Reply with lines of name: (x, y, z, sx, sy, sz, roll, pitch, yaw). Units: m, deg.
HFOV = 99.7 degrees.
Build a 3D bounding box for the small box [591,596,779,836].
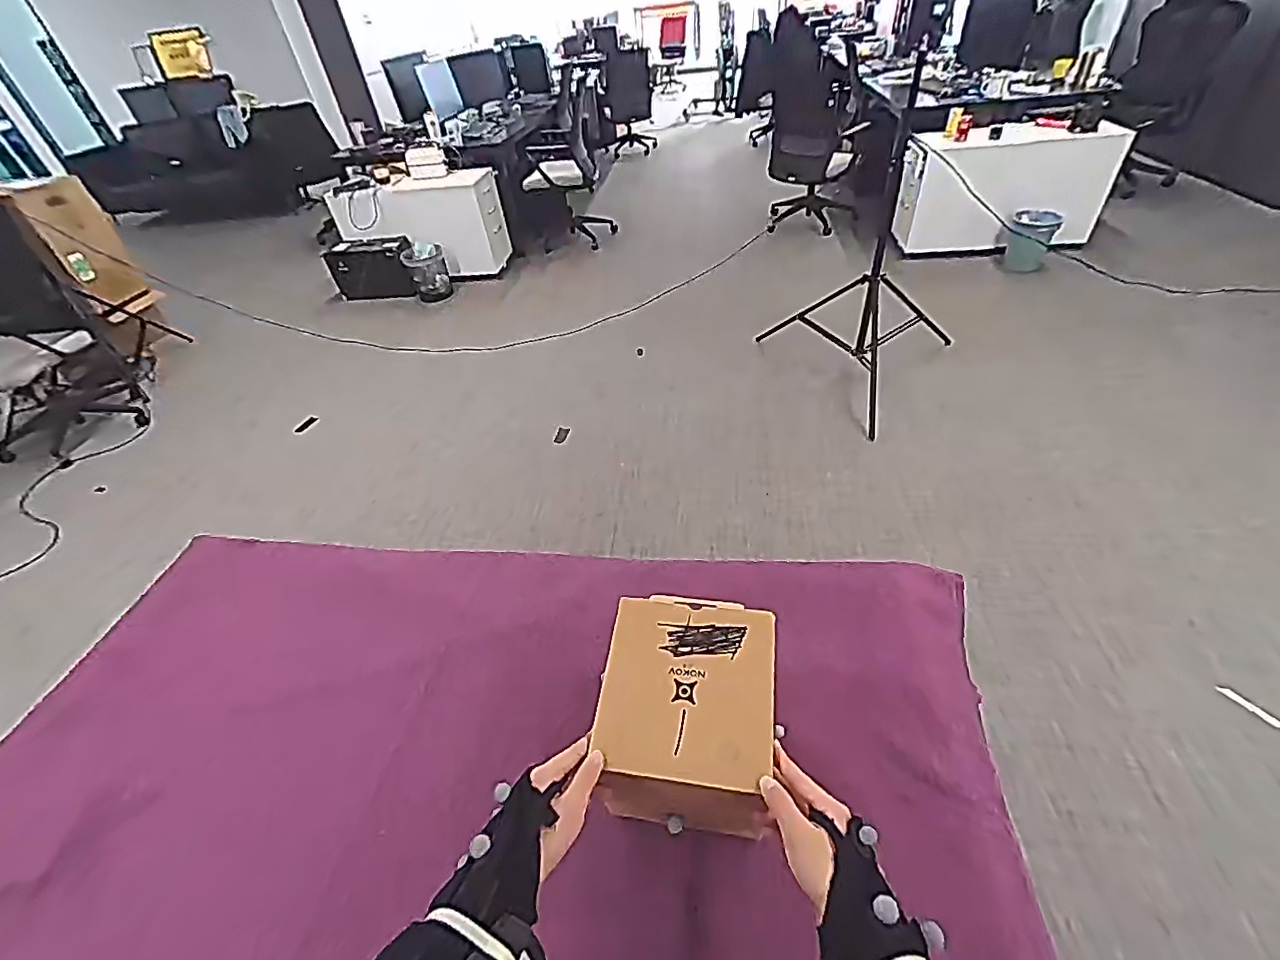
small box: (0.057, 0.249, 0.578, 0.168, 0.176, 0.179, 3, 47, 11)
